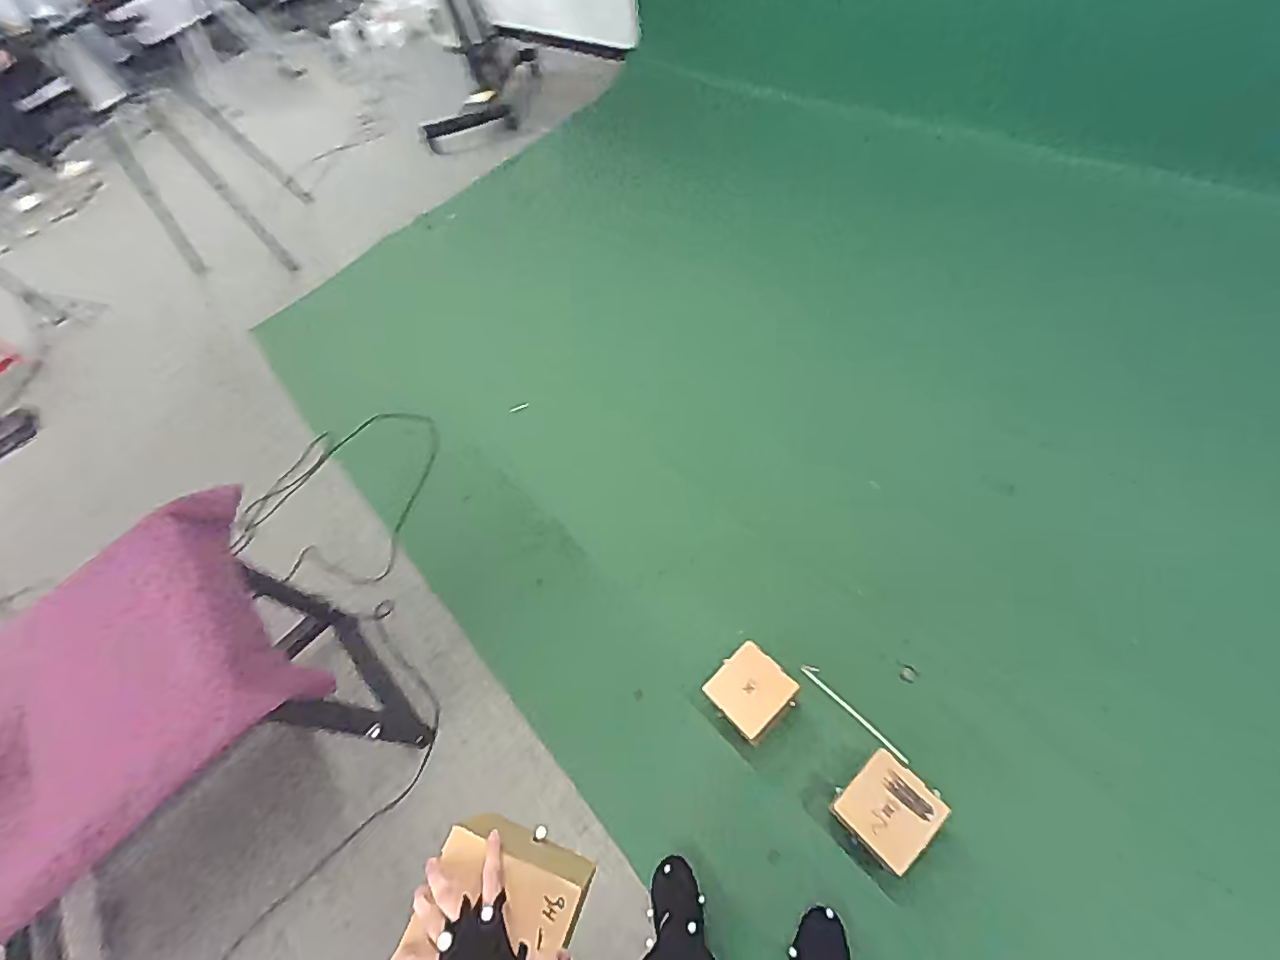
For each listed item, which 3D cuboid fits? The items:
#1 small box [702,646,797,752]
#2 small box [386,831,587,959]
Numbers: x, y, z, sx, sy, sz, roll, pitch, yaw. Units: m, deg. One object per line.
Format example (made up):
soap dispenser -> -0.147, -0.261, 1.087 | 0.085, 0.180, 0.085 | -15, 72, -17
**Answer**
small box -> 0.286, 0.568, 1.387 | 0.179, 0.176, 0.168 | -41, 57, -14
small box -> -0.181, 0.557, 0.665 | 0.179, 0.176, 0.168 | 18, 64, 11
